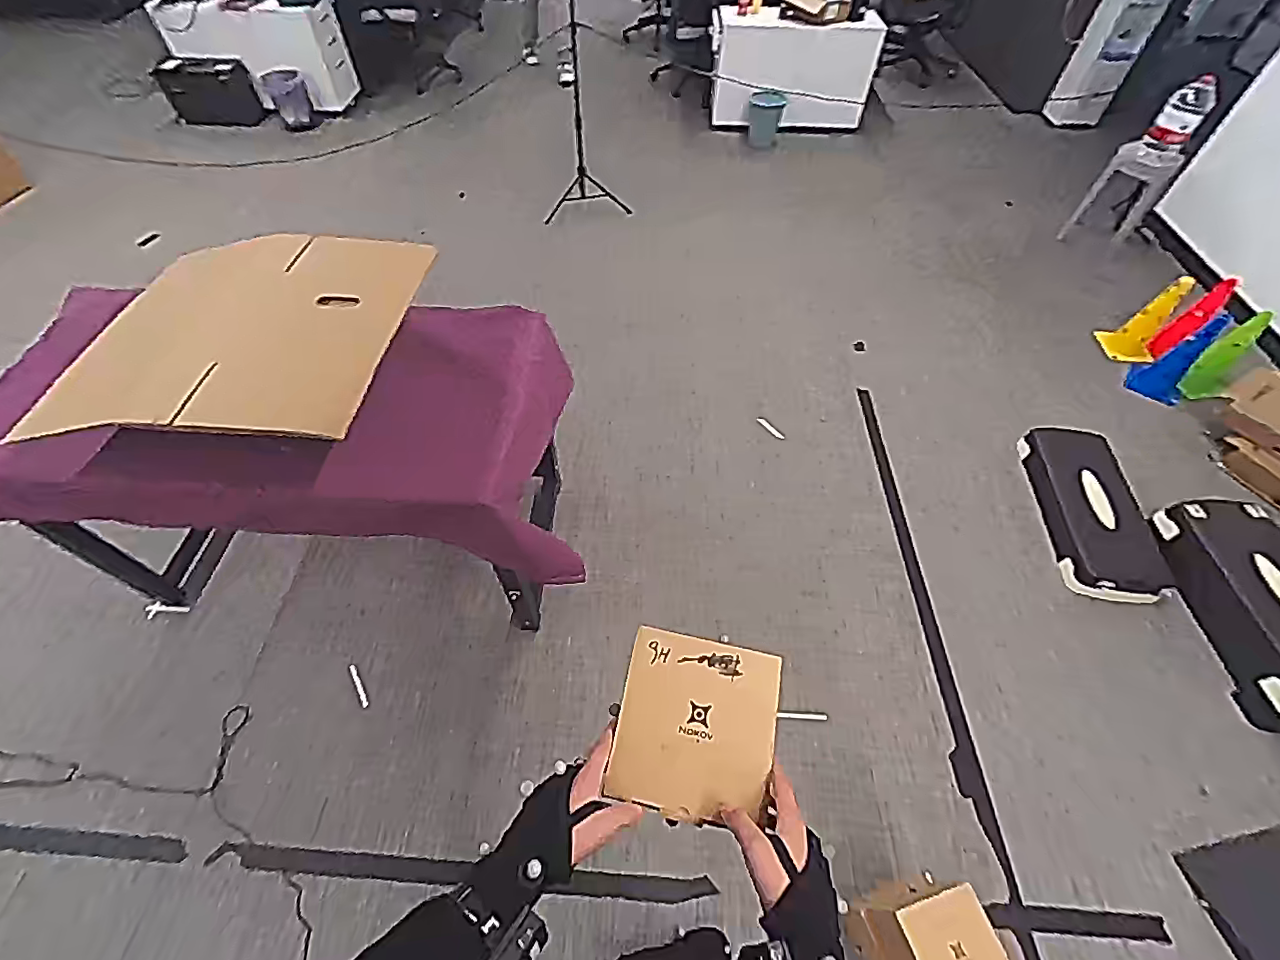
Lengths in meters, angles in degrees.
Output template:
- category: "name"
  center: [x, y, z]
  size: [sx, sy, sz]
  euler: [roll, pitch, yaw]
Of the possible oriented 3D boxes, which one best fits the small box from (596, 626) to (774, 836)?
- category: "small box"
  center: [0.052, 0.293, 0.646]
  size: [0.168, 0.176, 0.179]
  euler: [12, 65, 5]
